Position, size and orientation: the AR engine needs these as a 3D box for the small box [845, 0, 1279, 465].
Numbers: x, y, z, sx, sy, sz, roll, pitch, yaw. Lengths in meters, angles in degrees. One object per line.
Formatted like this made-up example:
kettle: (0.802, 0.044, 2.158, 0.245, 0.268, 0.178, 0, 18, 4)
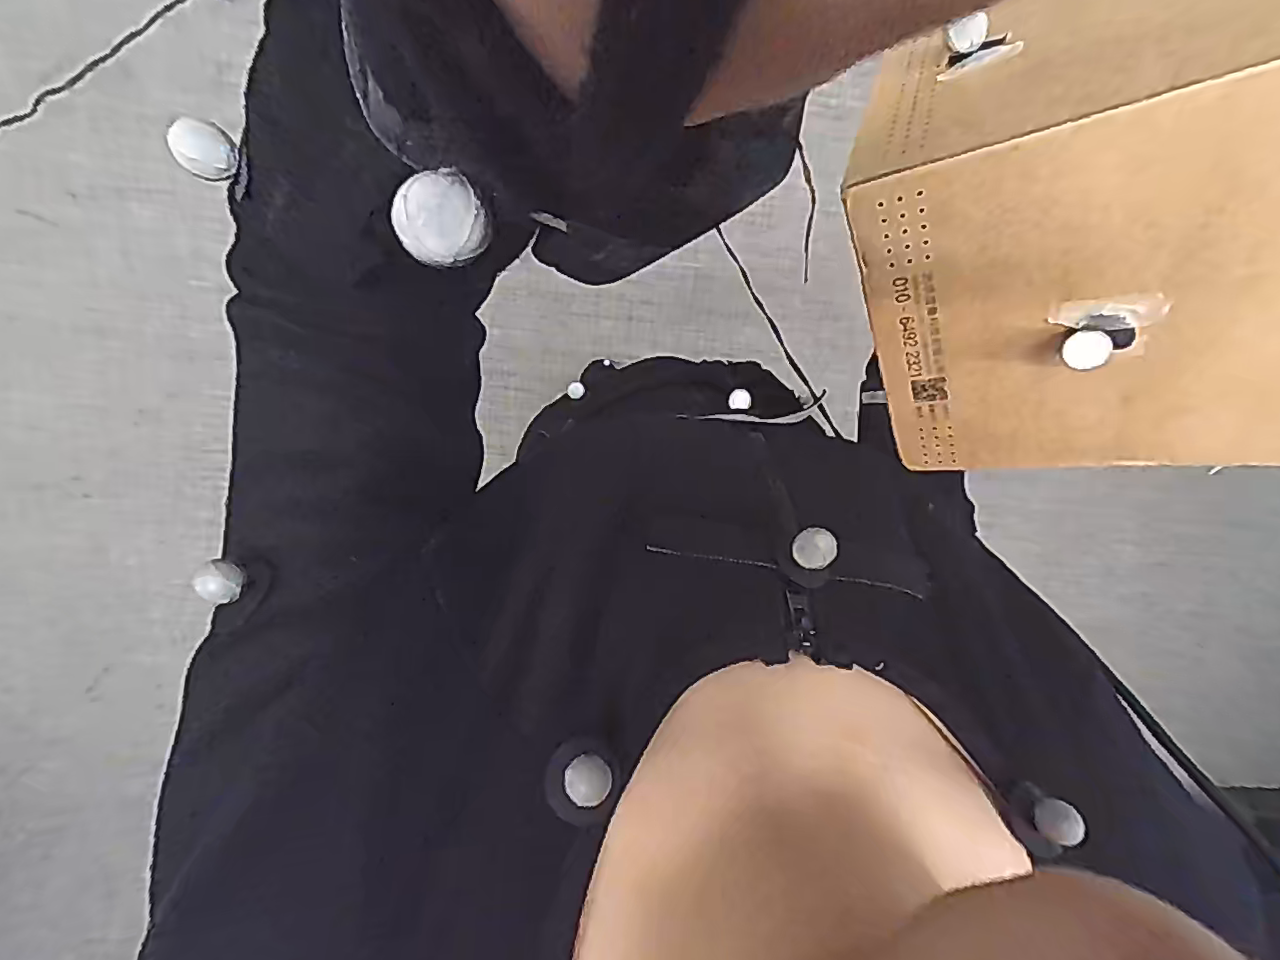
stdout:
small box: (0.204, -0.119, 0.249, 0.176, 0.179, 0.168, 0, 141, 36)
